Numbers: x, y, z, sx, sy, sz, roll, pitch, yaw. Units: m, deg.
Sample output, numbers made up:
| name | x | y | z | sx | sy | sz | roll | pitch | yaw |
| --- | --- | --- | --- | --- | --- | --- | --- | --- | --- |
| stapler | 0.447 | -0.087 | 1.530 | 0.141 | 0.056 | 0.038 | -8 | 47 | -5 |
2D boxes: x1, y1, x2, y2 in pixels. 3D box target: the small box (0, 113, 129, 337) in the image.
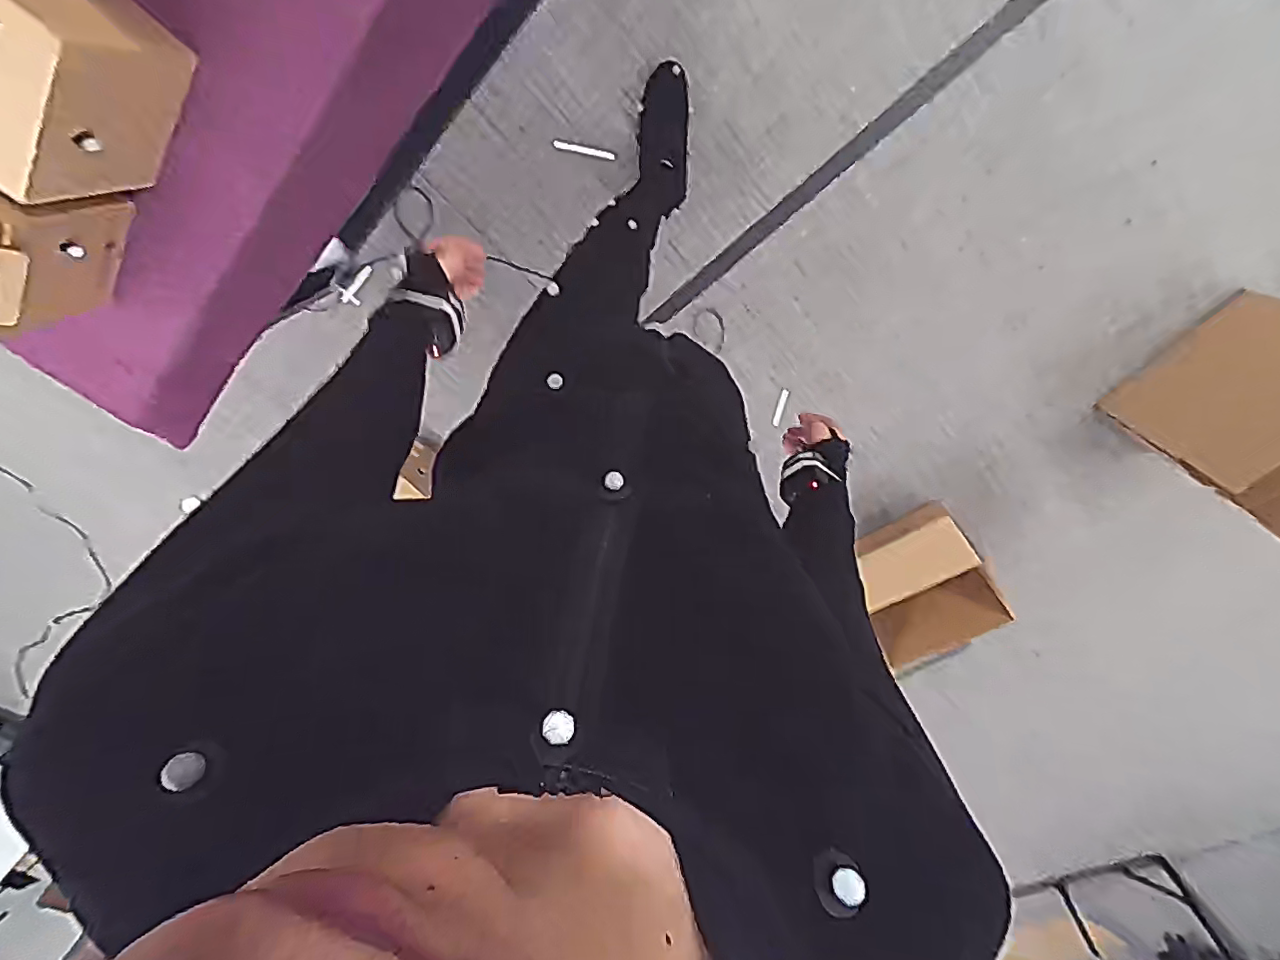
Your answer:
| name | x | y | z | sx | sy | sz | roll | pitch | yaw |
| --- | --- | --- | --- | --- | --- | --- | --- | --- | --- |
| small box | -0.750 | -0.301 | 0.617 | 0.179 | 0.176 | 0.168 | 35 | 118 | -20 |
